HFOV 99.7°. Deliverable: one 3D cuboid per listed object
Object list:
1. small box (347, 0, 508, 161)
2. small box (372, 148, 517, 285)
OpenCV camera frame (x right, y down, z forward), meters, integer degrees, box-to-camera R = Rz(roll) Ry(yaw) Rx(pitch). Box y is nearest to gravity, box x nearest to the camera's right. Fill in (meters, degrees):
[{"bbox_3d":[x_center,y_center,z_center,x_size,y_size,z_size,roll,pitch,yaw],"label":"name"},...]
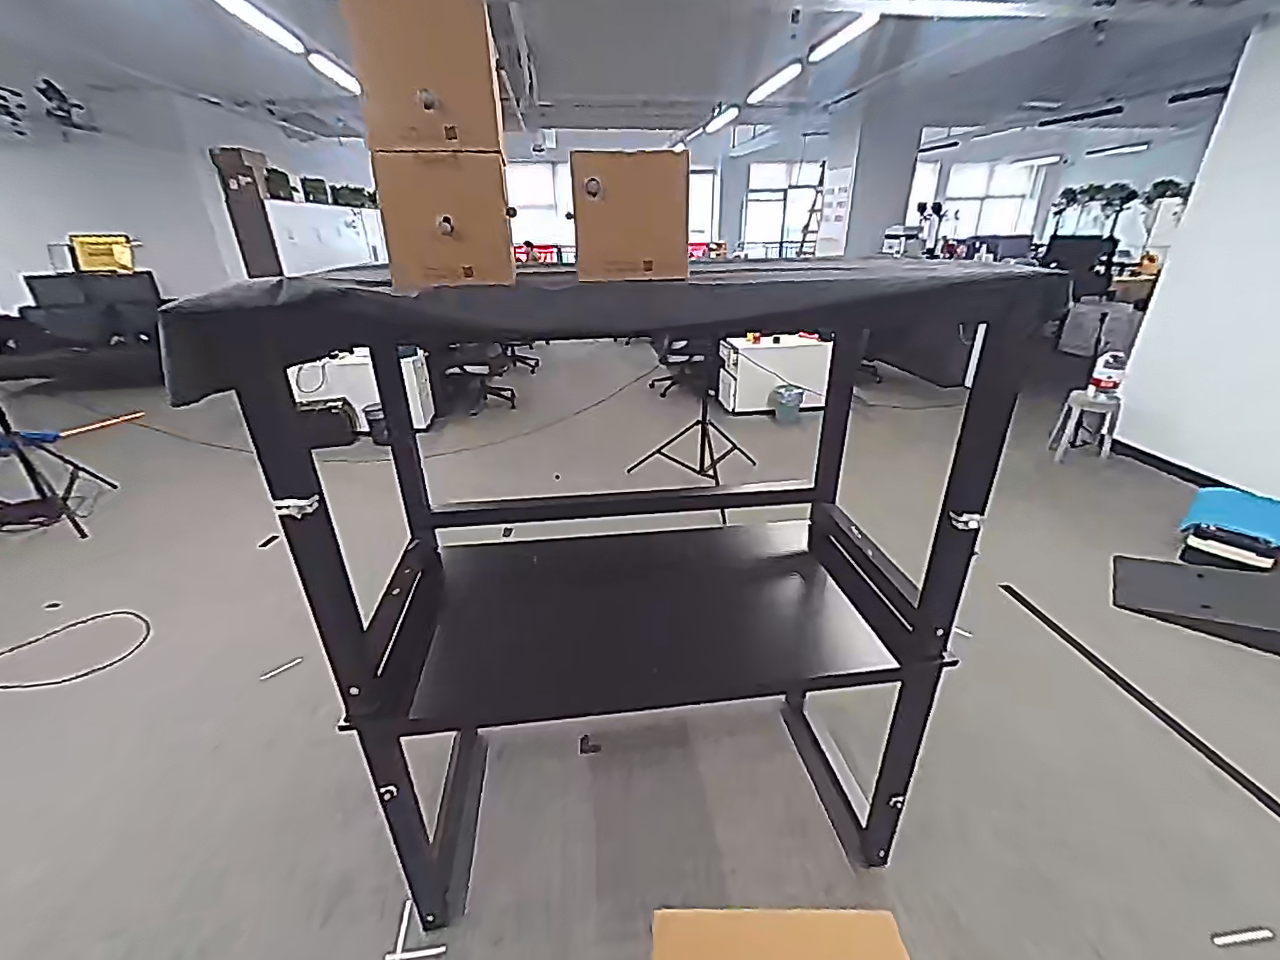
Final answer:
[{"bbox_3d":[-0.274,-0.534,0.735,0.168,0.176,0.179,-6,25,-9],"label":"small box"},{"bbox_3d":[-0.273,-0.382,0.799,0.168,0.176,0.179,-5,25,-10],"label":"small box"}]
